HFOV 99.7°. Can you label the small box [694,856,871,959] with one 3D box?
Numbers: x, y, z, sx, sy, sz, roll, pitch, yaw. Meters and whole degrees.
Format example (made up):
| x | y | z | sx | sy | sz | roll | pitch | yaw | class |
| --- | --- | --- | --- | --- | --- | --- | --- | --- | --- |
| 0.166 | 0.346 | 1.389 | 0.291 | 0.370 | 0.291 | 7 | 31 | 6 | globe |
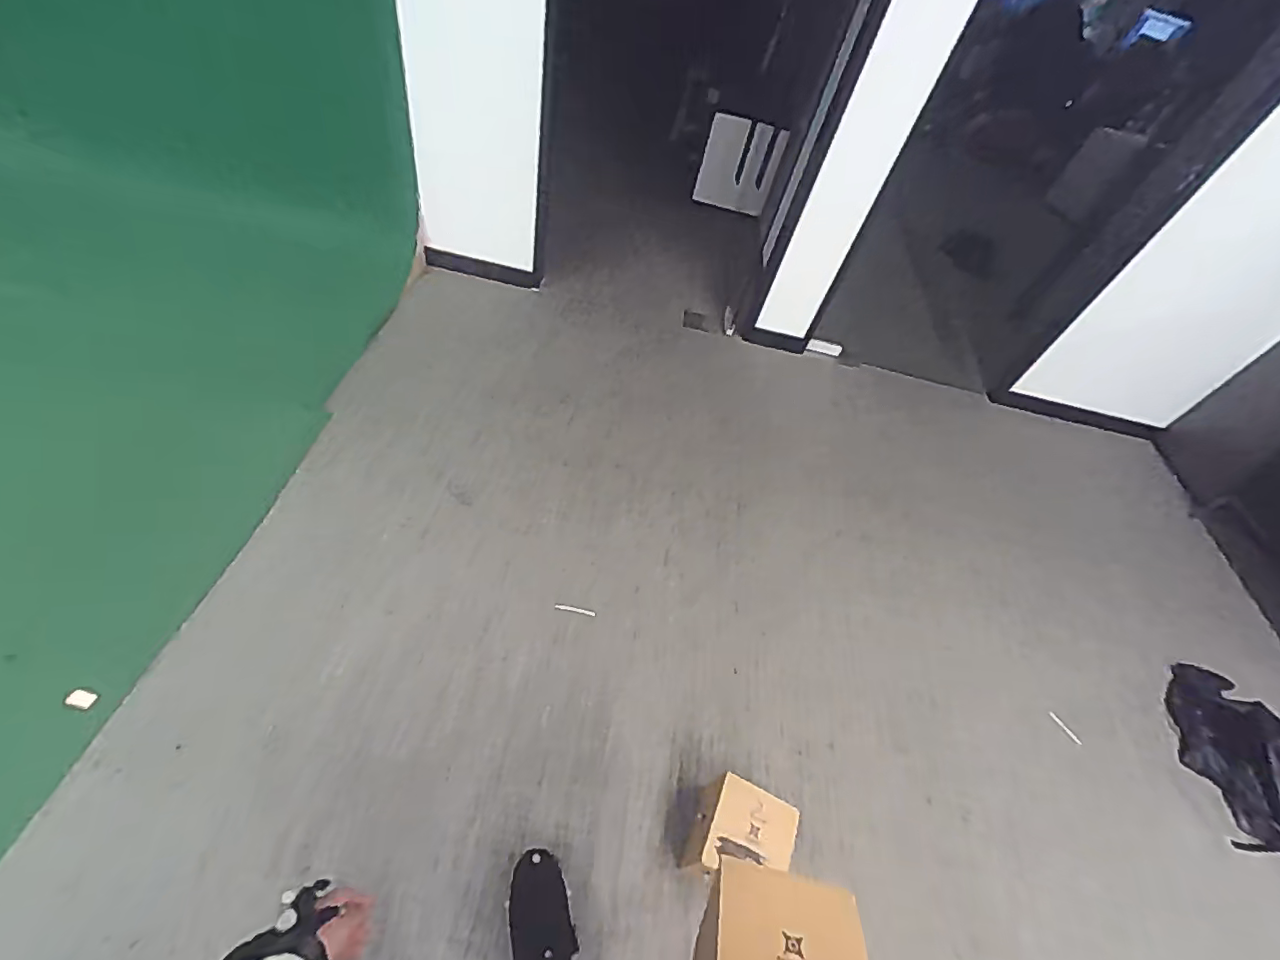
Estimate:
| x | y | z | sx | sy | sz | roll | pitch | yaw | class |
| --- | --- | --- | --- | --- | --- | --- | --- | --- | --- |
| 0.147 | 0.570 | 0.586 | 0.168 | 0.176 | 0.179 | 12 | 18 | 7 | small box |
